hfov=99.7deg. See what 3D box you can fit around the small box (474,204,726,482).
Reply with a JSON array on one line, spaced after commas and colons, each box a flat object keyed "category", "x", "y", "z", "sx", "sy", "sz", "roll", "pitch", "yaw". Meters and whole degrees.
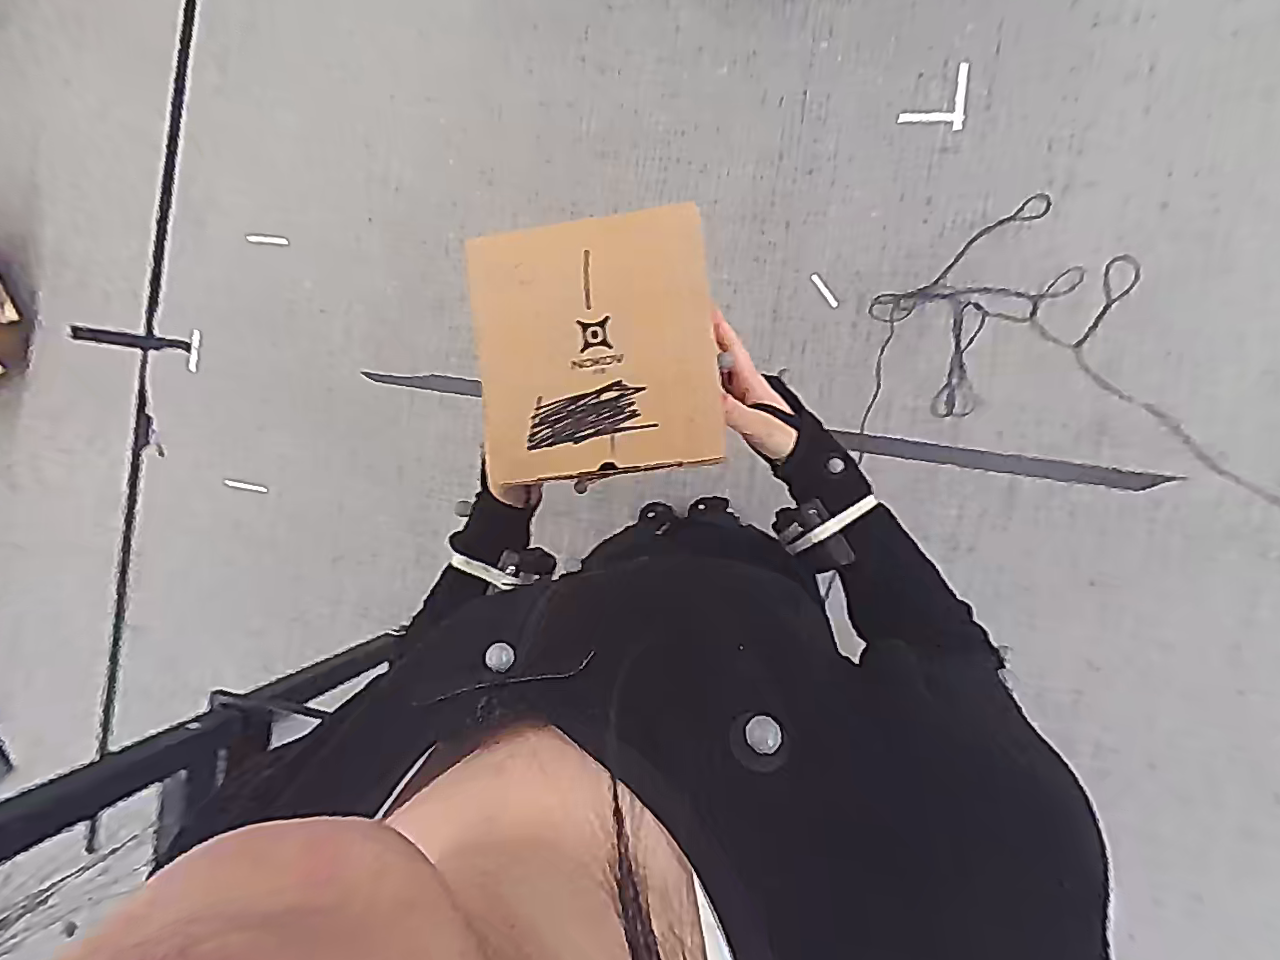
[{"category": "small box", "x": -0.020, "y": -0.094, "z": 0.449, "sx": 0.168, "sy": 0.176, "sz": 0.179, "roll": -5, "pitch": 90, "yaw": 5}]
